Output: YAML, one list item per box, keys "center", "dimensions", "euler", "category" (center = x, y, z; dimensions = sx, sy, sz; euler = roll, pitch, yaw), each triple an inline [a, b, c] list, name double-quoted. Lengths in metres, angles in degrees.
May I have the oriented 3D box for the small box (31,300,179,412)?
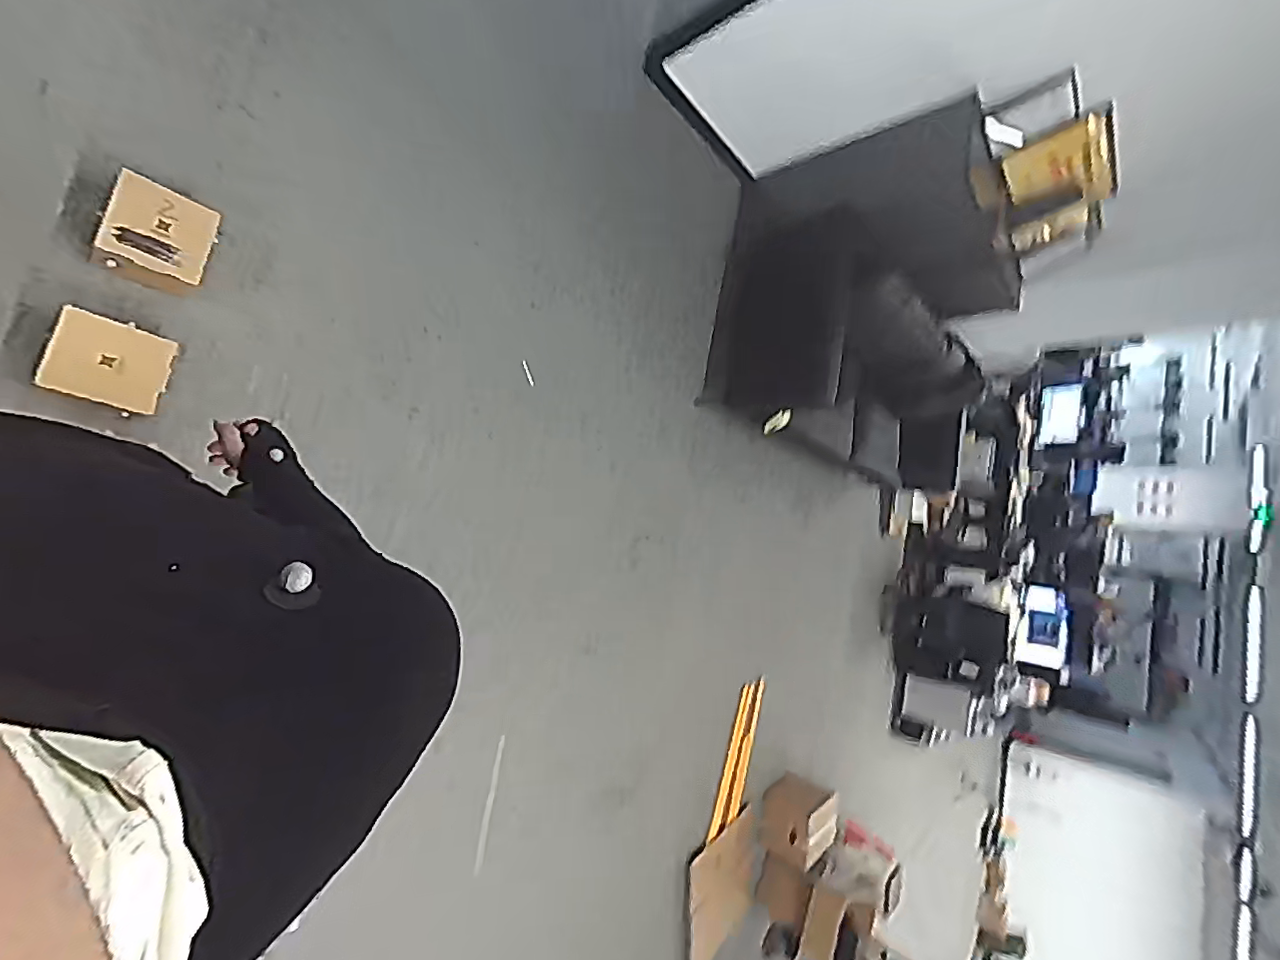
- center: [-1.105, -0.244, 1.120]
  dimensions: [0.179, 0.176, 0.168]
  euler: [23, 76, -46]
  category: "small box"
